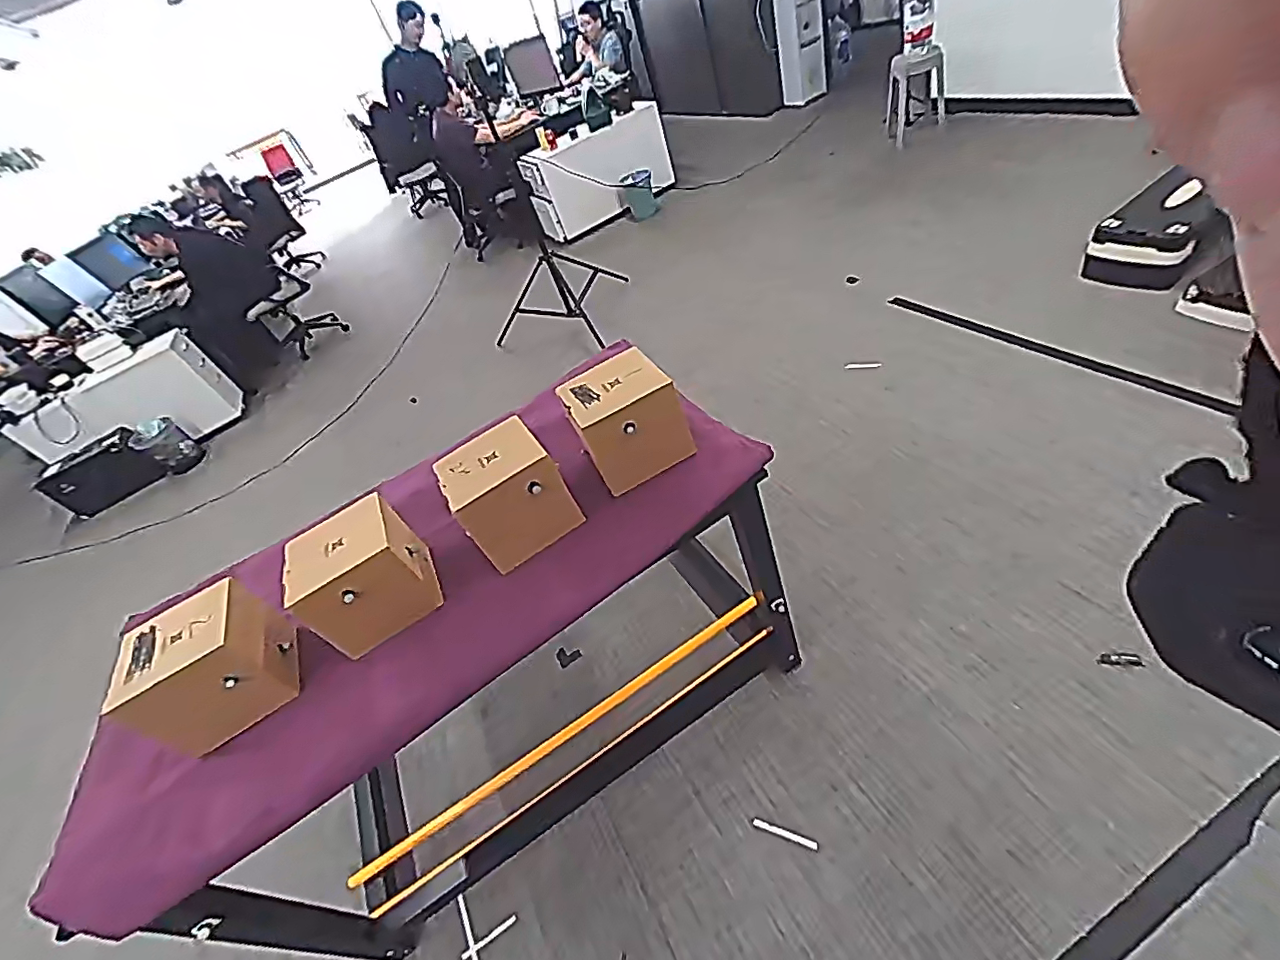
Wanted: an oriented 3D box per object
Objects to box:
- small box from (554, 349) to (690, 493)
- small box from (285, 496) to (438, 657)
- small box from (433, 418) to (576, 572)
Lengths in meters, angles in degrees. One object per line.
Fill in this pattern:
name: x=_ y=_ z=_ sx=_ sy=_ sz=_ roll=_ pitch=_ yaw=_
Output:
small box: x=-0.030 y=-0.107 z=1.001 sx=0.179 sy=0.176 sz=0.168 roll=-29 pitch=41 yaw=-6
small box: x=-0.471 y=0.166 z=0.933 sx=0.179 sy=0.176 sz=0.168 roll=-33 pitch=42 yaw=-9
small box: x=-0.232 y=0.026 z=0.959 sx=0.179 sy=0.176 sz=0.168 roll=-34 pitch=41 yaw=-10
